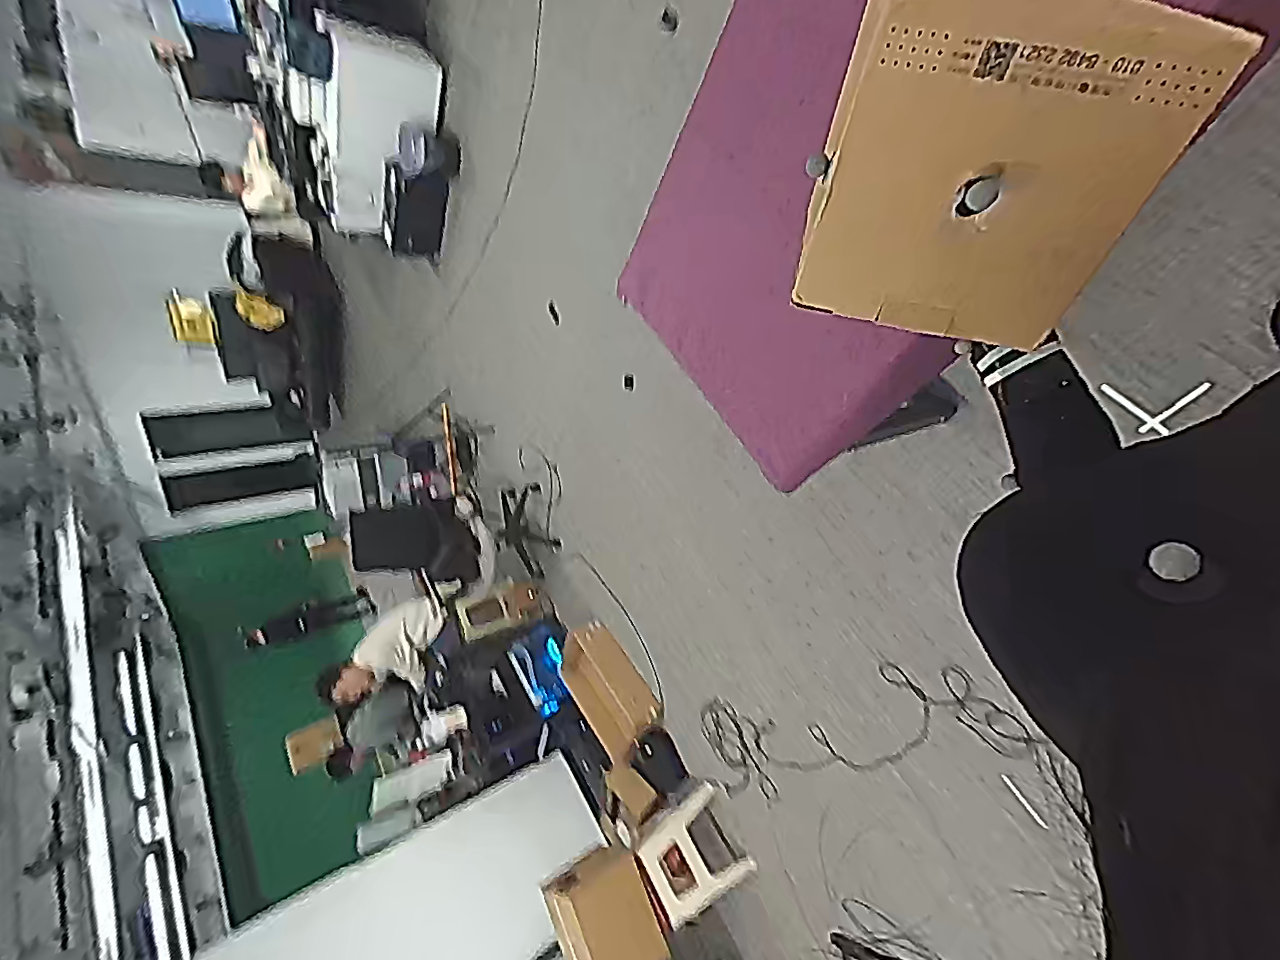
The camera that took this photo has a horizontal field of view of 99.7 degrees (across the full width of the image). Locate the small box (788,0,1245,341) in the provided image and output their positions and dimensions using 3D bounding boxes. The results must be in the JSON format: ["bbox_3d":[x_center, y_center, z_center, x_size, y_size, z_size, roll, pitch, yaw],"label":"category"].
[{"bbox_3d":[0.207,-0.222,0.350,0.168,0.179,0.176,16,138,7],"label":"small box"}]
